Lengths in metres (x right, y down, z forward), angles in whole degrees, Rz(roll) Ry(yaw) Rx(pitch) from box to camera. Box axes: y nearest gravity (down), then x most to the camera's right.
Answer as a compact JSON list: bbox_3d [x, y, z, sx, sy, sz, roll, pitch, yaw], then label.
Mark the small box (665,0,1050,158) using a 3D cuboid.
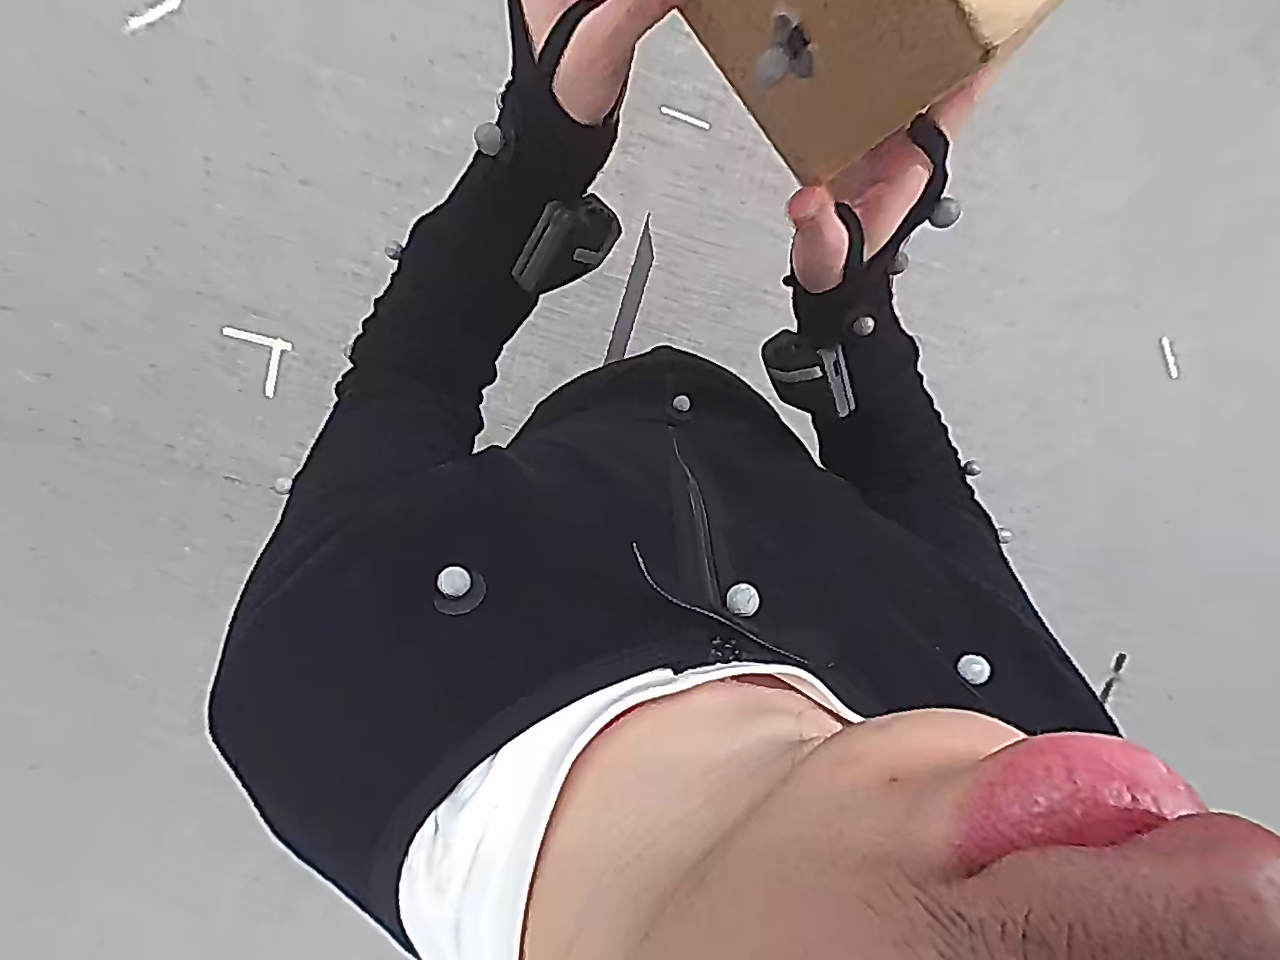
[{"bbox_3d":[0.087,-0.239,0.173,0.168,0.176,0.179,-41,101,13],"label":"small box"}]
